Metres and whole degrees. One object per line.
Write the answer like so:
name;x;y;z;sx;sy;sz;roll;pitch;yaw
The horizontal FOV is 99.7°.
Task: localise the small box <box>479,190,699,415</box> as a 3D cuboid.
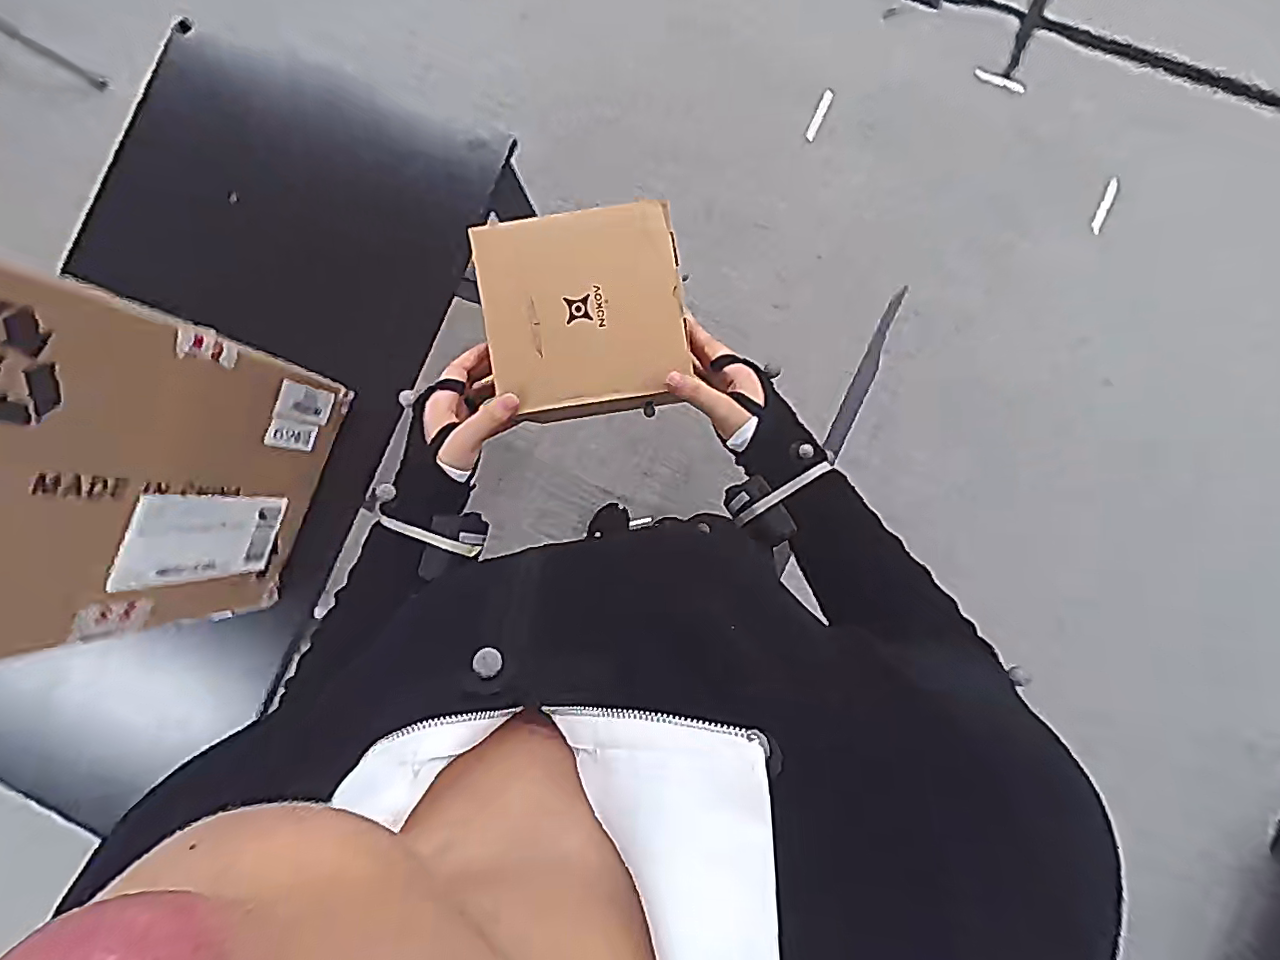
small box;-0.042;-0.162;0.550;0.179;0.176;0.168;-8;93;4
